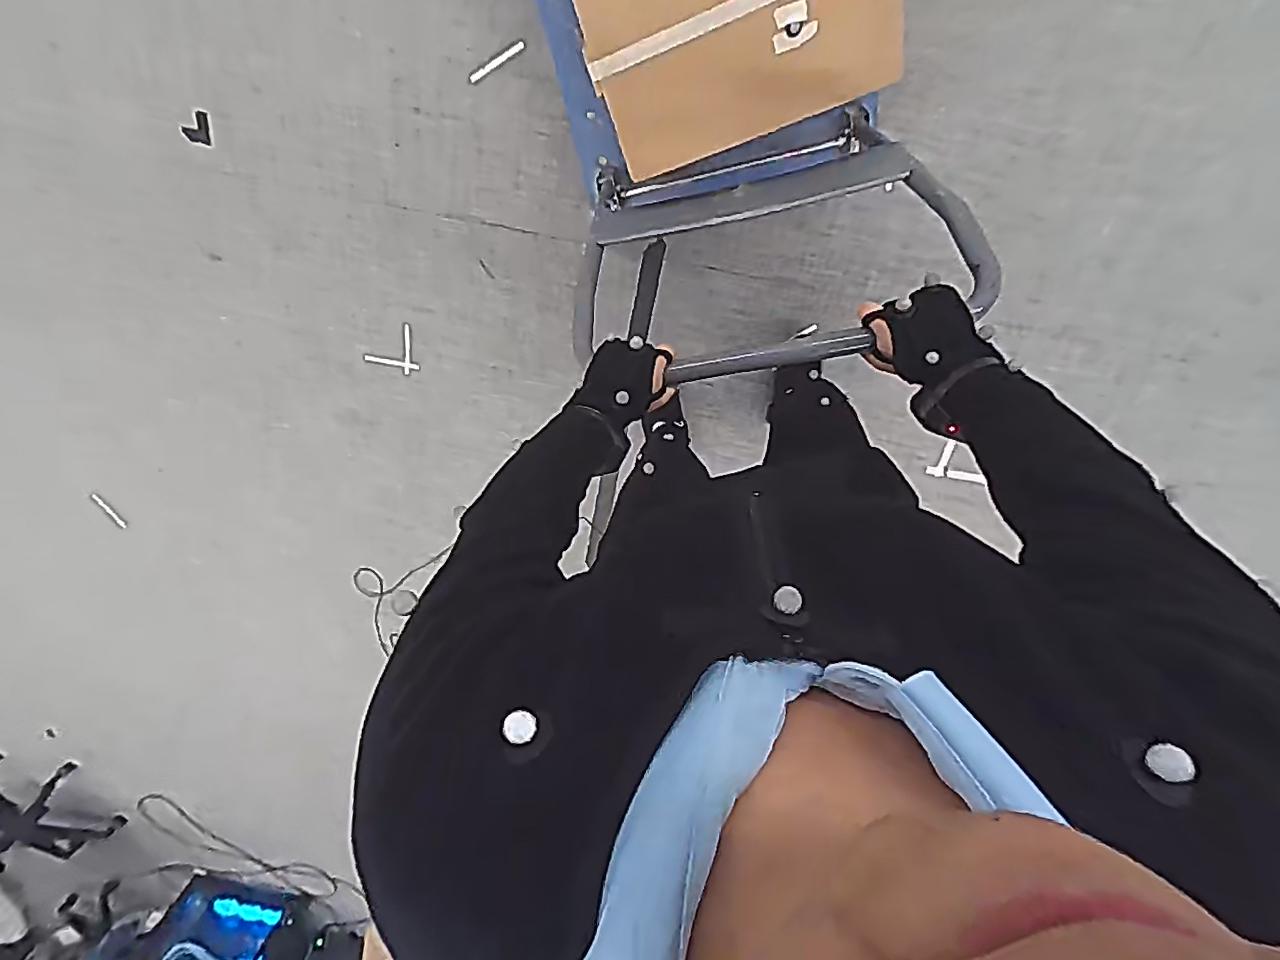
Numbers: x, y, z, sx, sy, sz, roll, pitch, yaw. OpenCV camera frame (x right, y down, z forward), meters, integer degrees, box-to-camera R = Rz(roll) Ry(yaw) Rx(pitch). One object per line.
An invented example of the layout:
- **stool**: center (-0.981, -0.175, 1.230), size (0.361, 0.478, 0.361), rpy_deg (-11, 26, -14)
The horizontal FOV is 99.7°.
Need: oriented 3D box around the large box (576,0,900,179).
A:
- **large box**: center (0.132, -0.732, 0.833), size (0.408, 0.320, 0.320), rpy_deg (-14, 130, 15)
